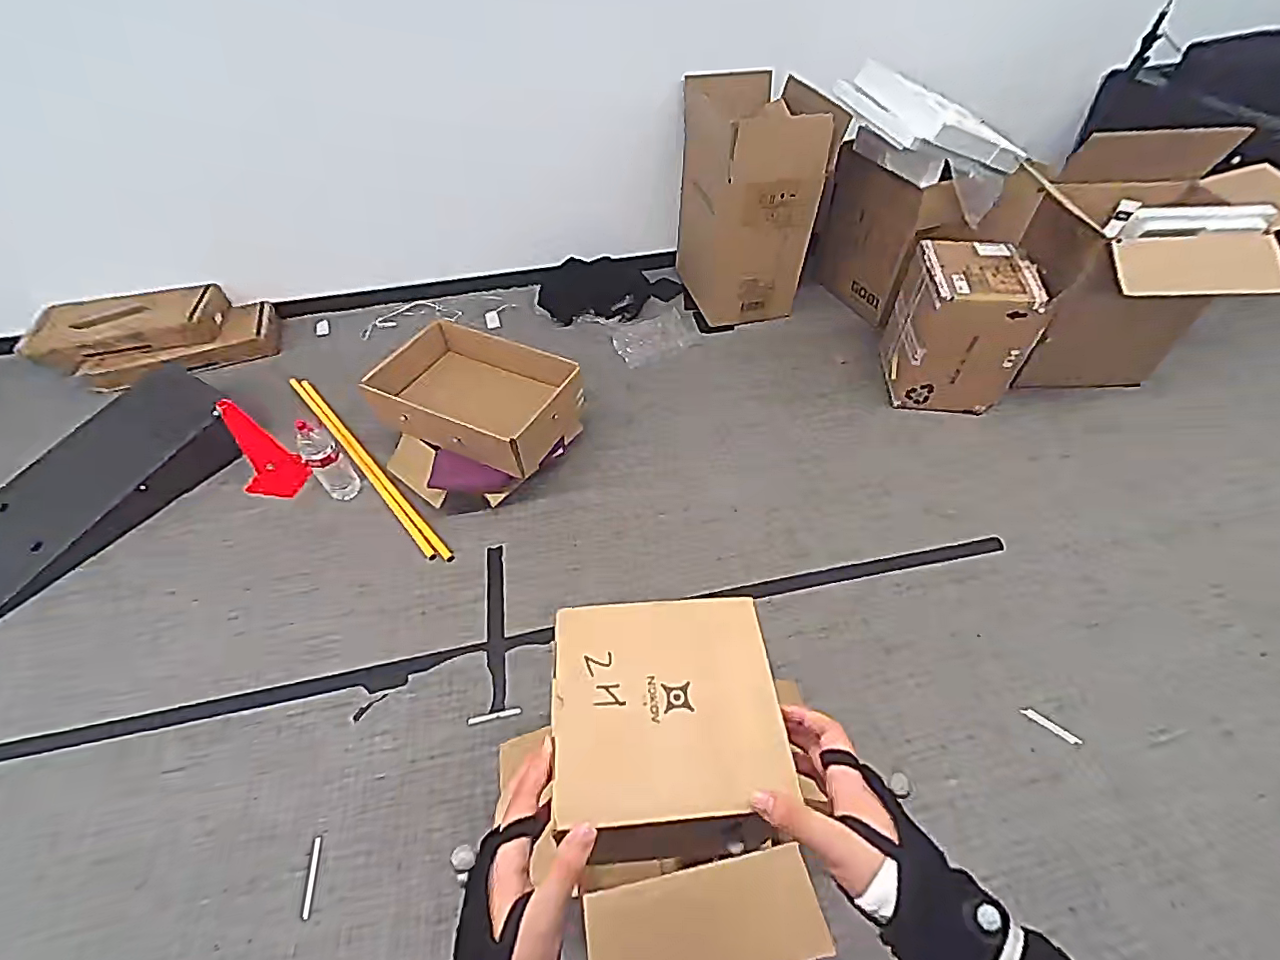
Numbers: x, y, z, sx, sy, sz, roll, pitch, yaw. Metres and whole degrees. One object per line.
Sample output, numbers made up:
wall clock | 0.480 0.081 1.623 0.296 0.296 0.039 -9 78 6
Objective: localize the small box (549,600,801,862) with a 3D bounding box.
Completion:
small box | 0.018 0.223 0.477 0.179 0.176 0.168 -3 48 -4
